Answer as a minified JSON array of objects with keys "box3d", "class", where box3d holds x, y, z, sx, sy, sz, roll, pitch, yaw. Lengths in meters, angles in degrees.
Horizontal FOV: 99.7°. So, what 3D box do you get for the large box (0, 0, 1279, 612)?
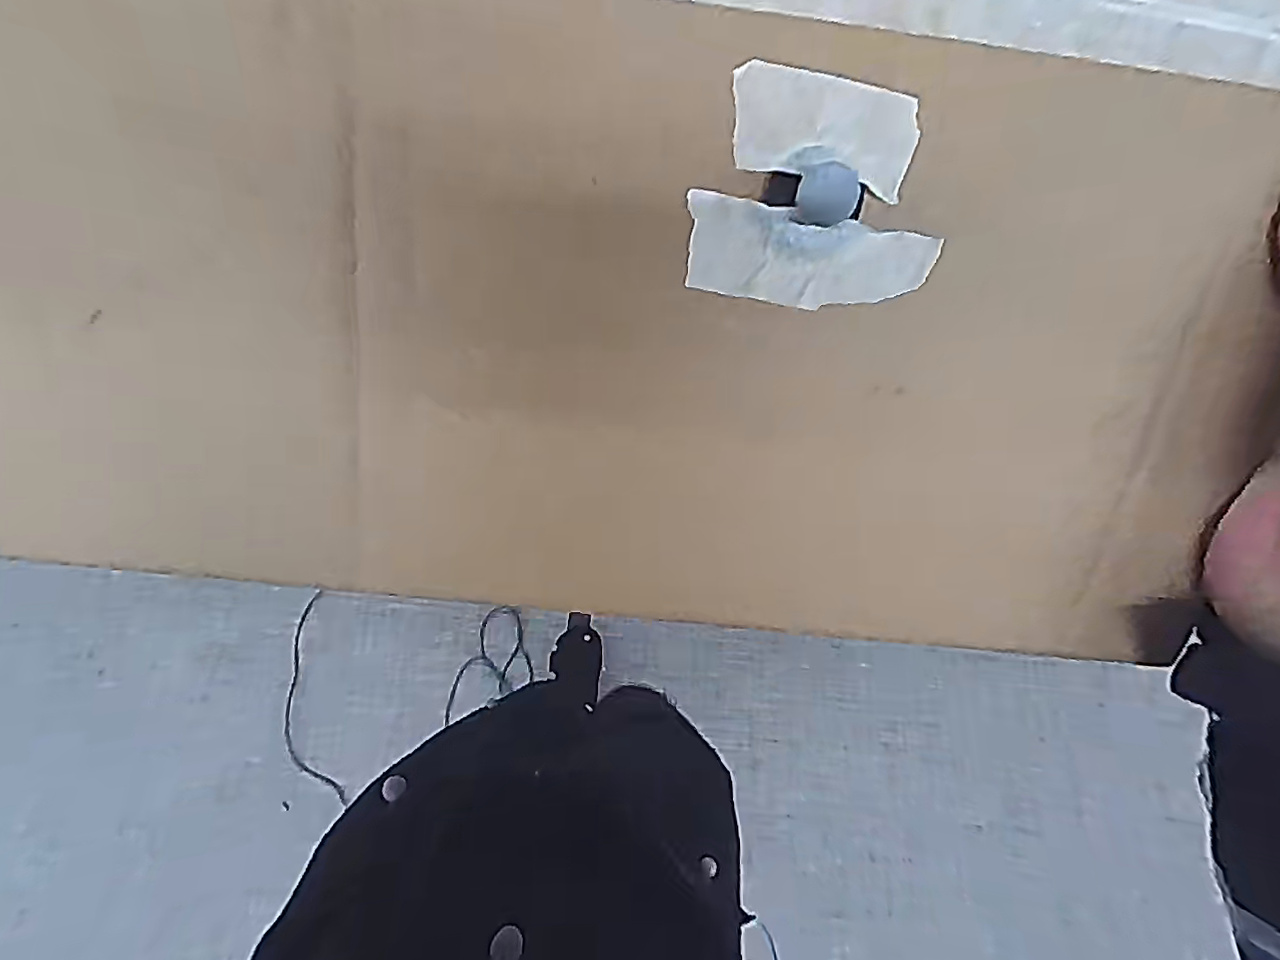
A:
[{"box3d":[-0.025,-0.157,0.270,0.408,0.320,0.320,6,106,-4],"class":"large box"}]
